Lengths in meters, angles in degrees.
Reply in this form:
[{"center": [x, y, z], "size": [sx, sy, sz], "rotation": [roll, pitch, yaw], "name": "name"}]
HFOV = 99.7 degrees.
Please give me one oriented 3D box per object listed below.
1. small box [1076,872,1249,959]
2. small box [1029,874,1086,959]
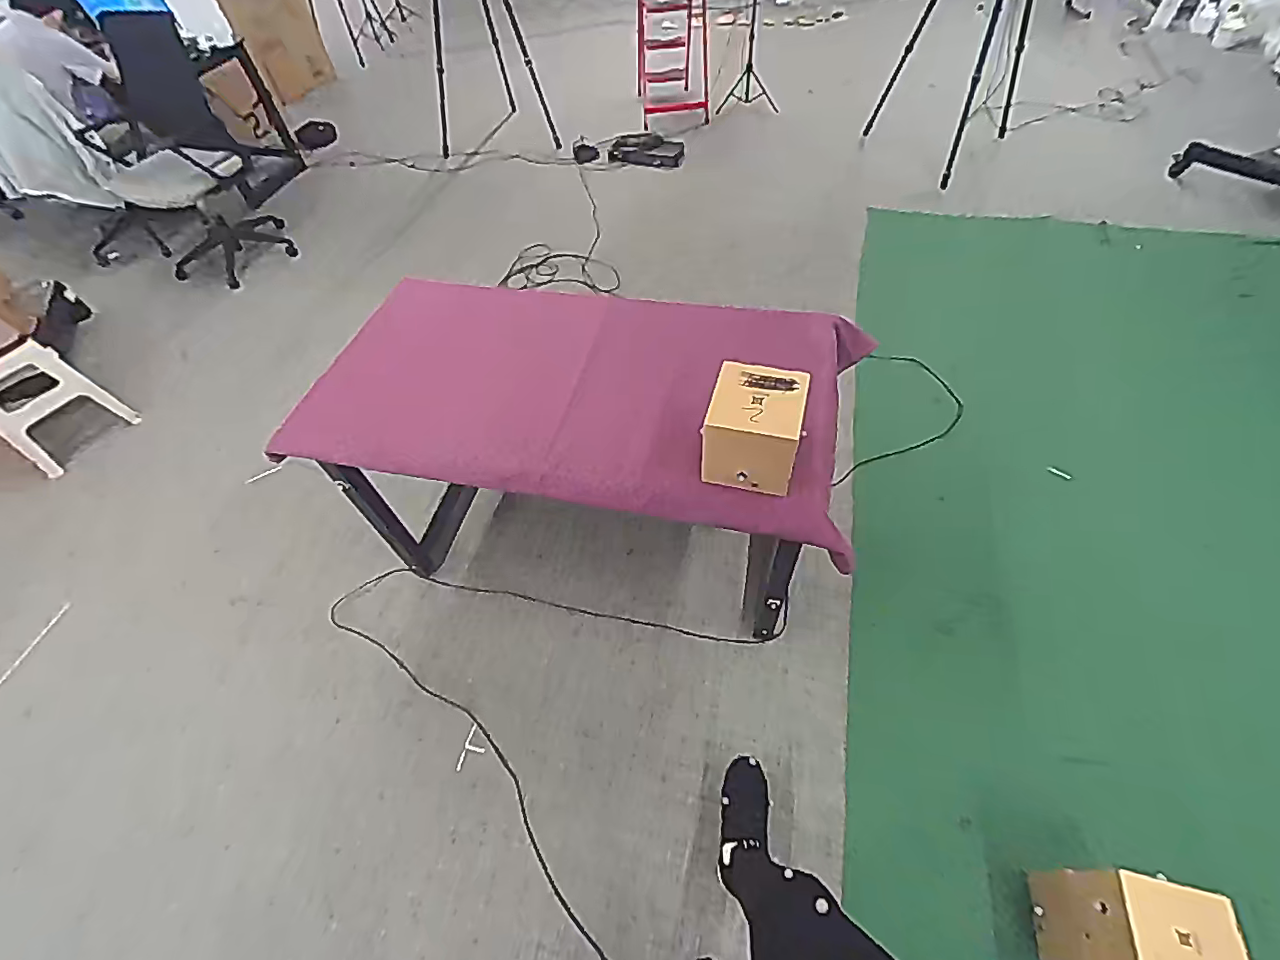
[{"center": [0.940, 0.841, 0.985], "size": [0.179, 0.176, 0.168], "rotation": [10, 54, 10], "name": "small box"}, {"center": [0.951, 0.936, 1.115], "size": [0.179, 0.176, 0.168], "rotation": [9, 54, 11], "name": "small box"}]
